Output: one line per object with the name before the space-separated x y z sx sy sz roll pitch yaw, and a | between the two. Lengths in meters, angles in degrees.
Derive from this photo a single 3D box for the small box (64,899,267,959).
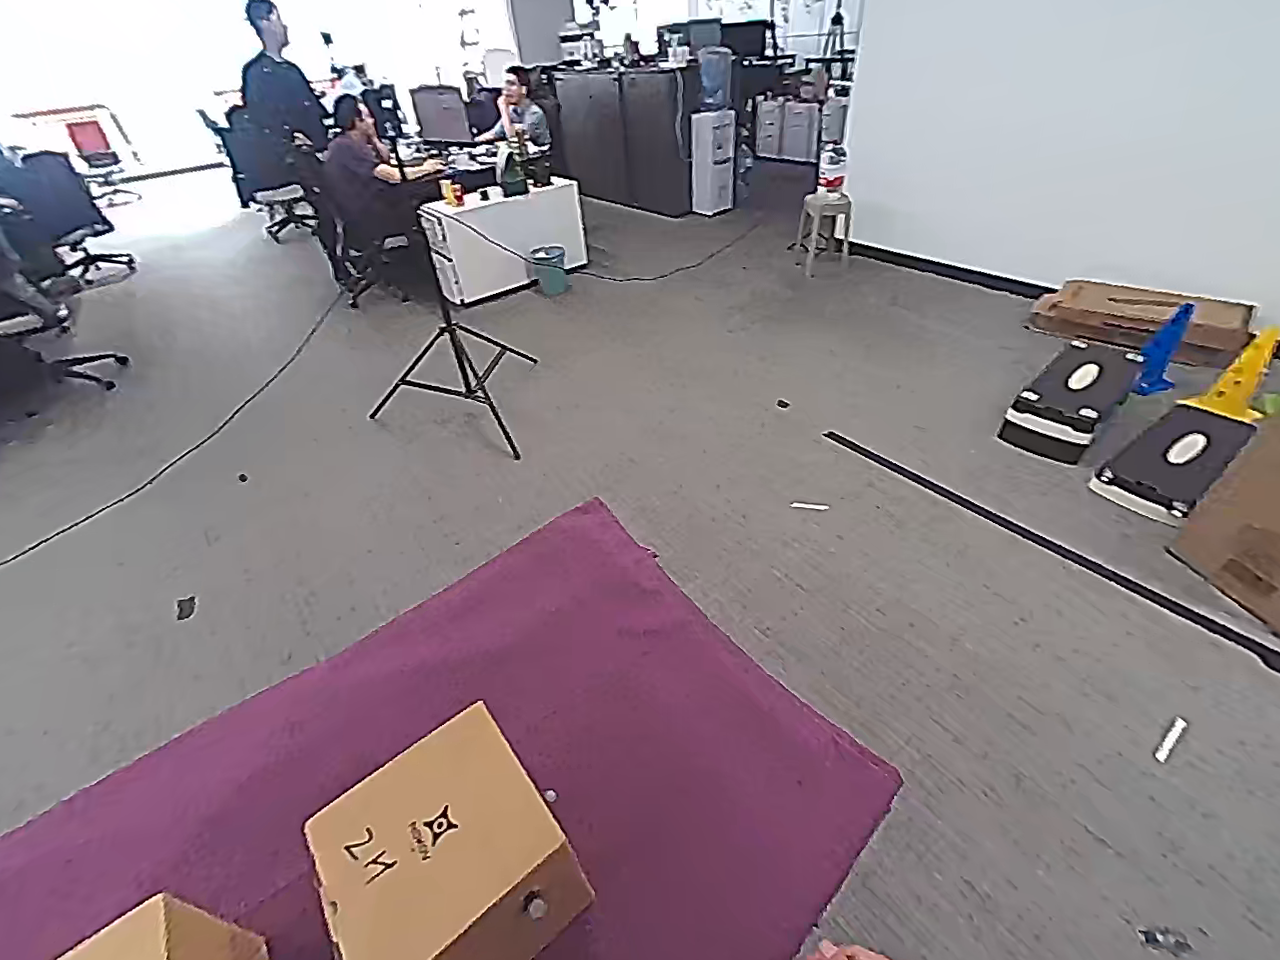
small box | -0.402 0.477 0.407 0.179 0.176 0.168 -30 45 -25

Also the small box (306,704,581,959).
small box | -0.170 0.361 0.510 0.179 0.176 0.168 -30 44 -26
